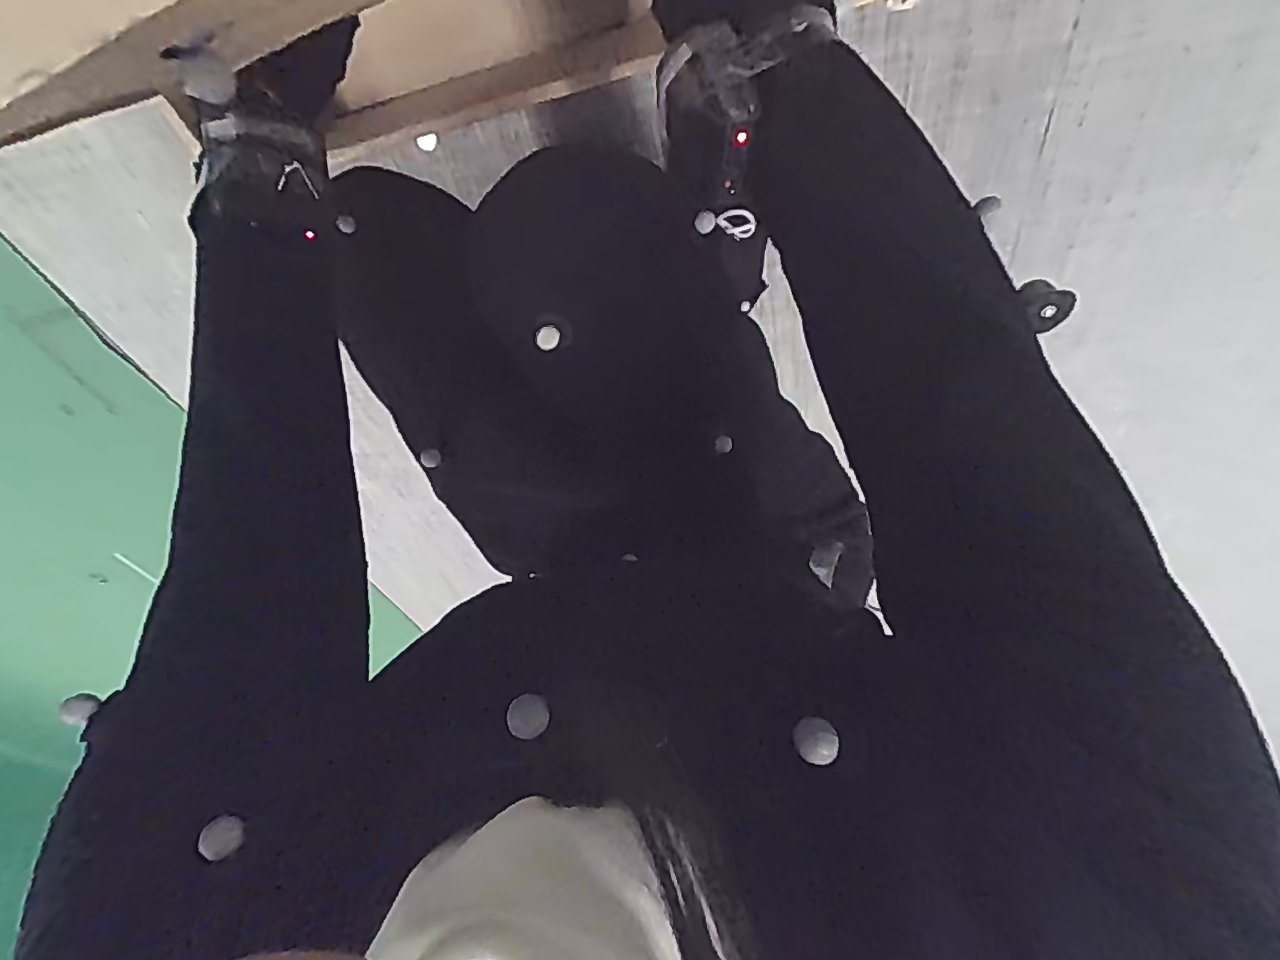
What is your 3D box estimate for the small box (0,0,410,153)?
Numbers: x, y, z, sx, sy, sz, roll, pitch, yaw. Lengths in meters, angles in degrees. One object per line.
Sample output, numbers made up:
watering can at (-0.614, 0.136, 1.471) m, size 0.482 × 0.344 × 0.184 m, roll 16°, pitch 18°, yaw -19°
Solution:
small box at (-0.159, -0.217, 0.146) m, size 0.179 × 0.176 × 0.168 m, roll -13°, pitch 130°, yaw 19°
